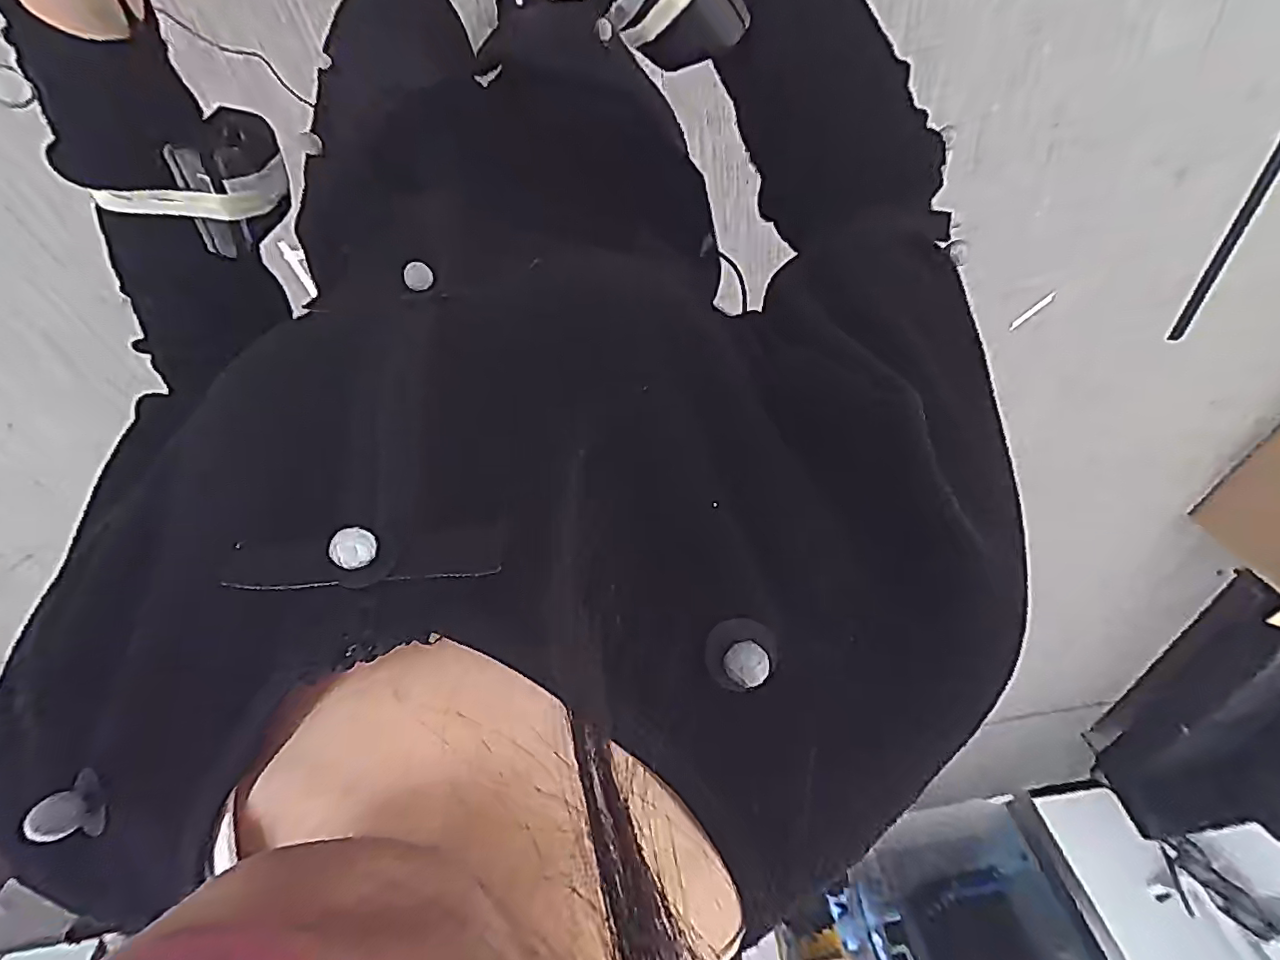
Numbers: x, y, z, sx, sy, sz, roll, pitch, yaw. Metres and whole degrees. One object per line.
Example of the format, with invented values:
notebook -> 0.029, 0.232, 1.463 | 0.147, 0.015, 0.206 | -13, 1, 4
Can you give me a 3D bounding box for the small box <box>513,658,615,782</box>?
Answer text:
small box -> -0.148, 0.470, 1.078 | 0.168, 0.176, 0.179 | -10, 132, 0
